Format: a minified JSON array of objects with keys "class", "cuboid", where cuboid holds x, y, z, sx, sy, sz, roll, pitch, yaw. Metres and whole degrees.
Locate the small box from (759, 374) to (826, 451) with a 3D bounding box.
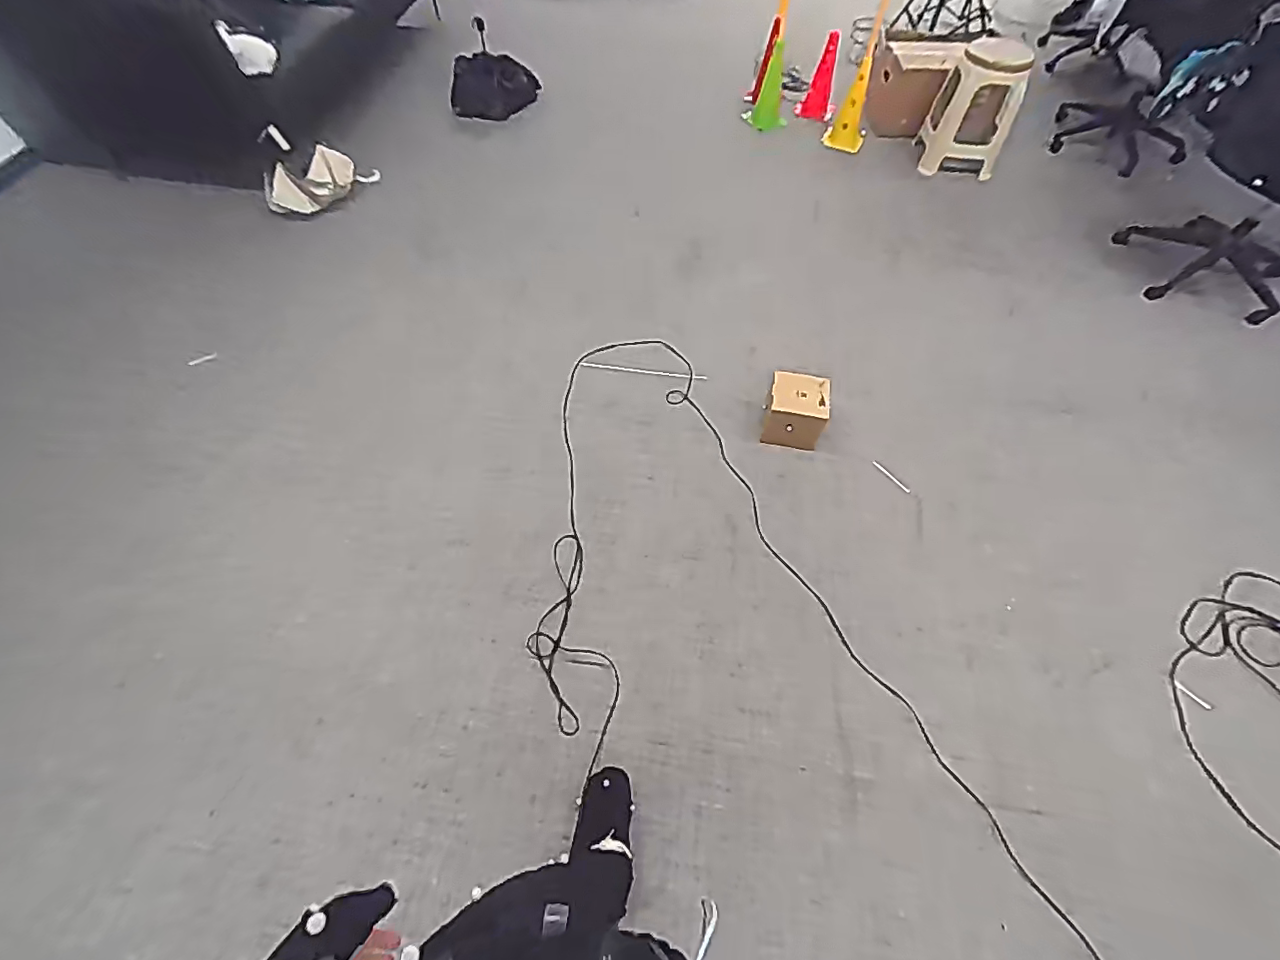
[{"class":"small box","cuboid":[0.486,-0.212,1.735,0.179,0.176,0.168,10,58,5]}]
